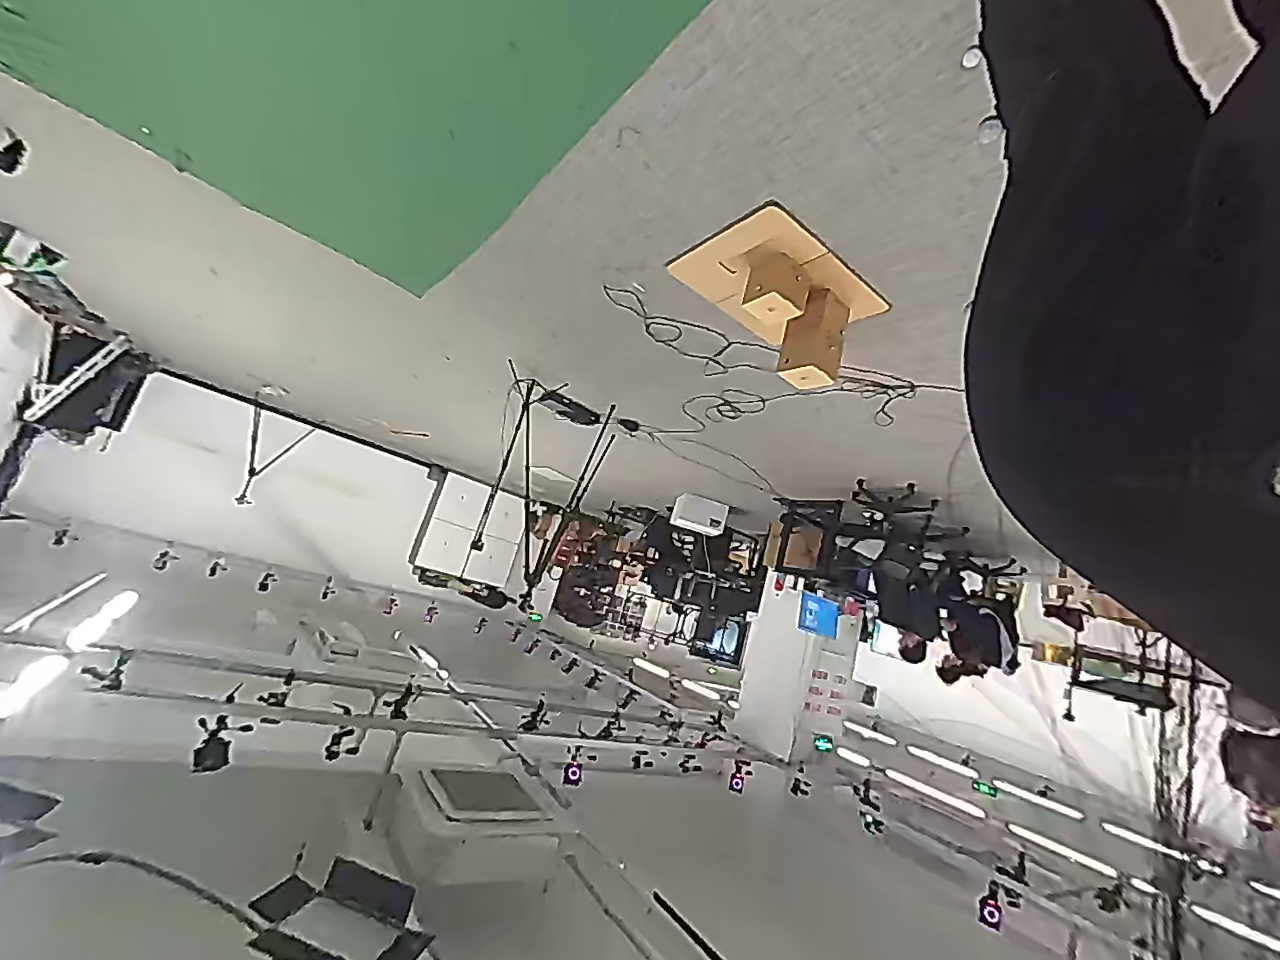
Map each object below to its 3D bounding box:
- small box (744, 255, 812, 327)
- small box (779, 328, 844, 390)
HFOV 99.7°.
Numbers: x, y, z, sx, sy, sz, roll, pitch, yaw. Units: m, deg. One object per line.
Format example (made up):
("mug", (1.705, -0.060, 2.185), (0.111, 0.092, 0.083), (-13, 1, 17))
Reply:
("small box", (0.528, -0.717, 2.060), (0.168, 0.176, 0.179), (23, 165, -29))
("small box", (0.683, -0.477, 2.144), (0.168, 0.176, 0.179), (23, 166, -34))
